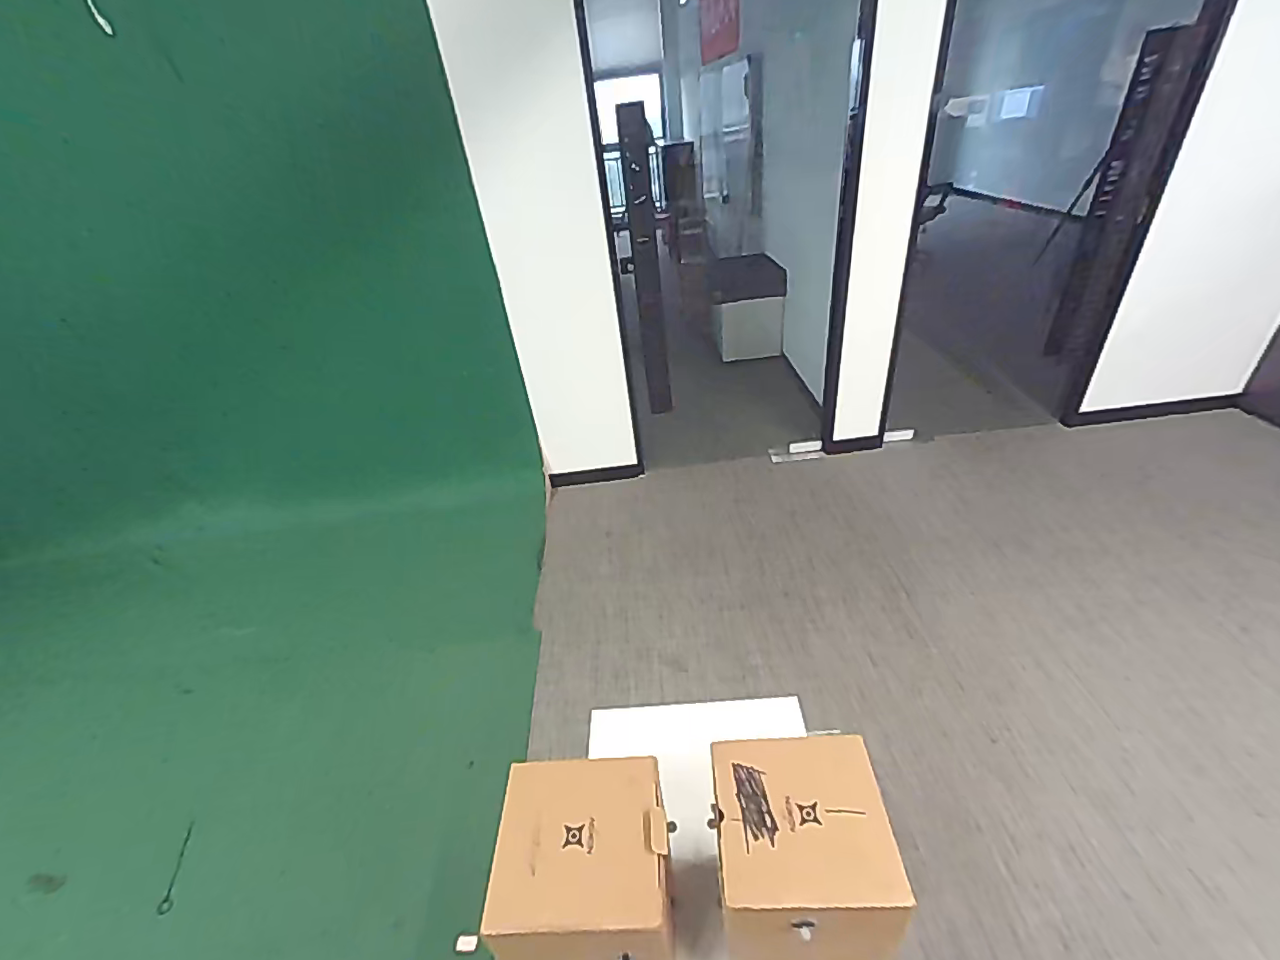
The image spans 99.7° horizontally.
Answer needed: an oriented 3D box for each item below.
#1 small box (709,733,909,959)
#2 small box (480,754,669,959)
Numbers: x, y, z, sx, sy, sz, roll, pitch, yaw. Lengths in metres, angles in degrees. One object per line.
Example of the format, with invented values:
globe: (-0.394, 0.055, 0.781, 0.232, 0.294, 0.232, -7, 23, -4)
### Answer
small box: (0.175, 0.411, 0.609, 0.179, 0.176, 0.168, -4, 34, 6)
small box: (-0.058, 0.439, 0.615, 0.179, 0.176, 0.168, -5, 33, 3)
